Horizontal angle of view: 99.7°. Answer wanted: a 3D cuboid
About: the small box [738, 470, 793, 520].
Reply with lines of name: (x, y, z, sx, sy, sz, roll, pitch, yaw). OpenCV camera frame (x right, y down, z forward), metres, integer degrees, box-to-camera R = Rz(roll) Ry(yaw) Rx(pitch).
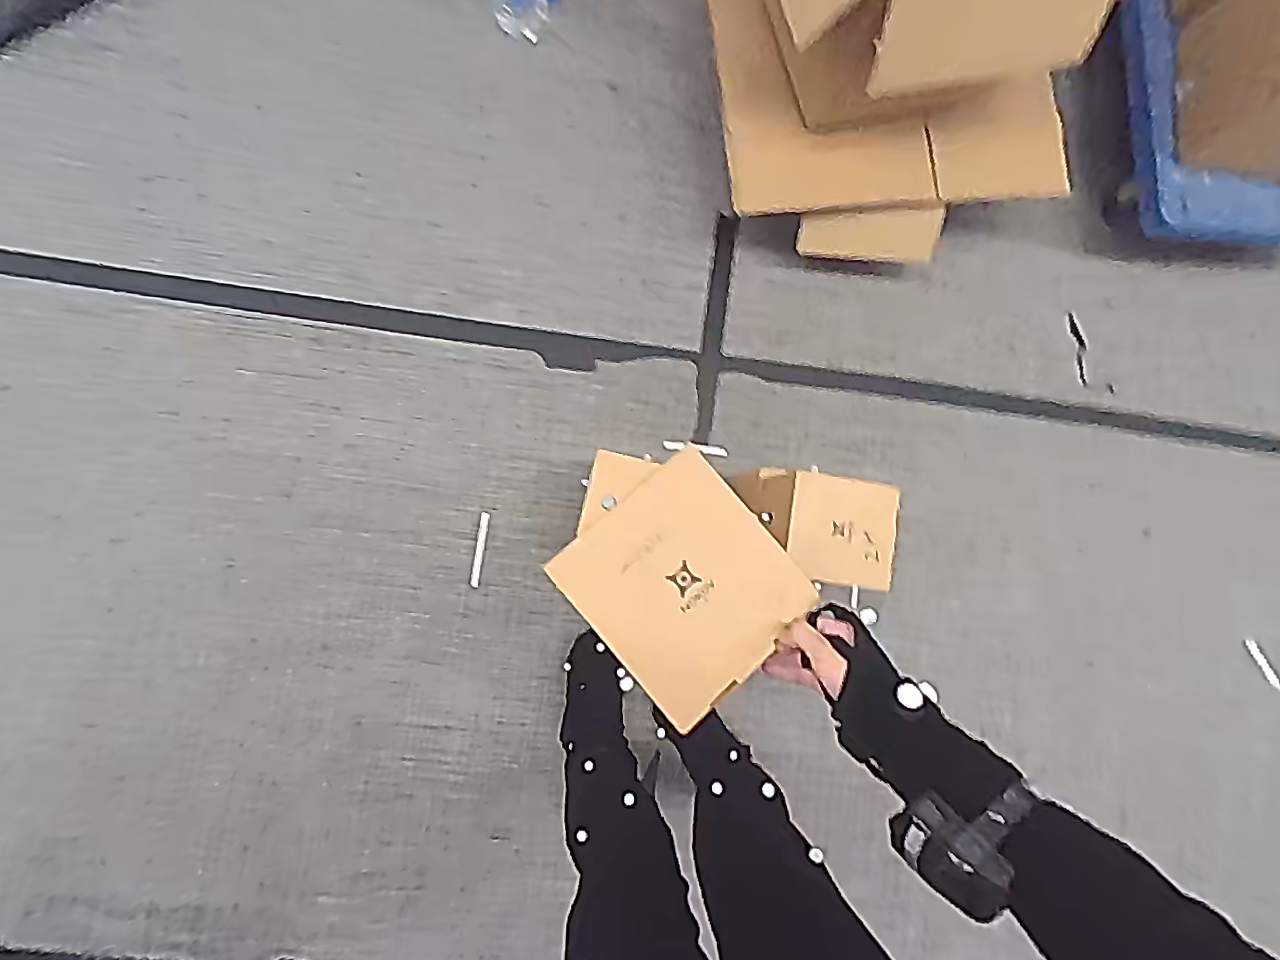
small box: (0.290, 0.083, 1.078, 0.168, 0.176, 0.179, 8, 84, -6)

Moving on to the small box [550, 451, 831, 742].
small box: (0.034, 0.101, 0.512, 0.168, 0.176, 0.179, -41, 87, -13)

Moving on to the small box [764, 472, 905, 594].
small box: (0.310, 0.088, 0.914, 0.179, 0.176, 0.168, 10, 85, -6)

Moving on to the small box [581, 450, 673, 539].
small box: (-0.011, 0.052, 1.049, 0.179, 0.176, 0.168, 14, 84, -5)
